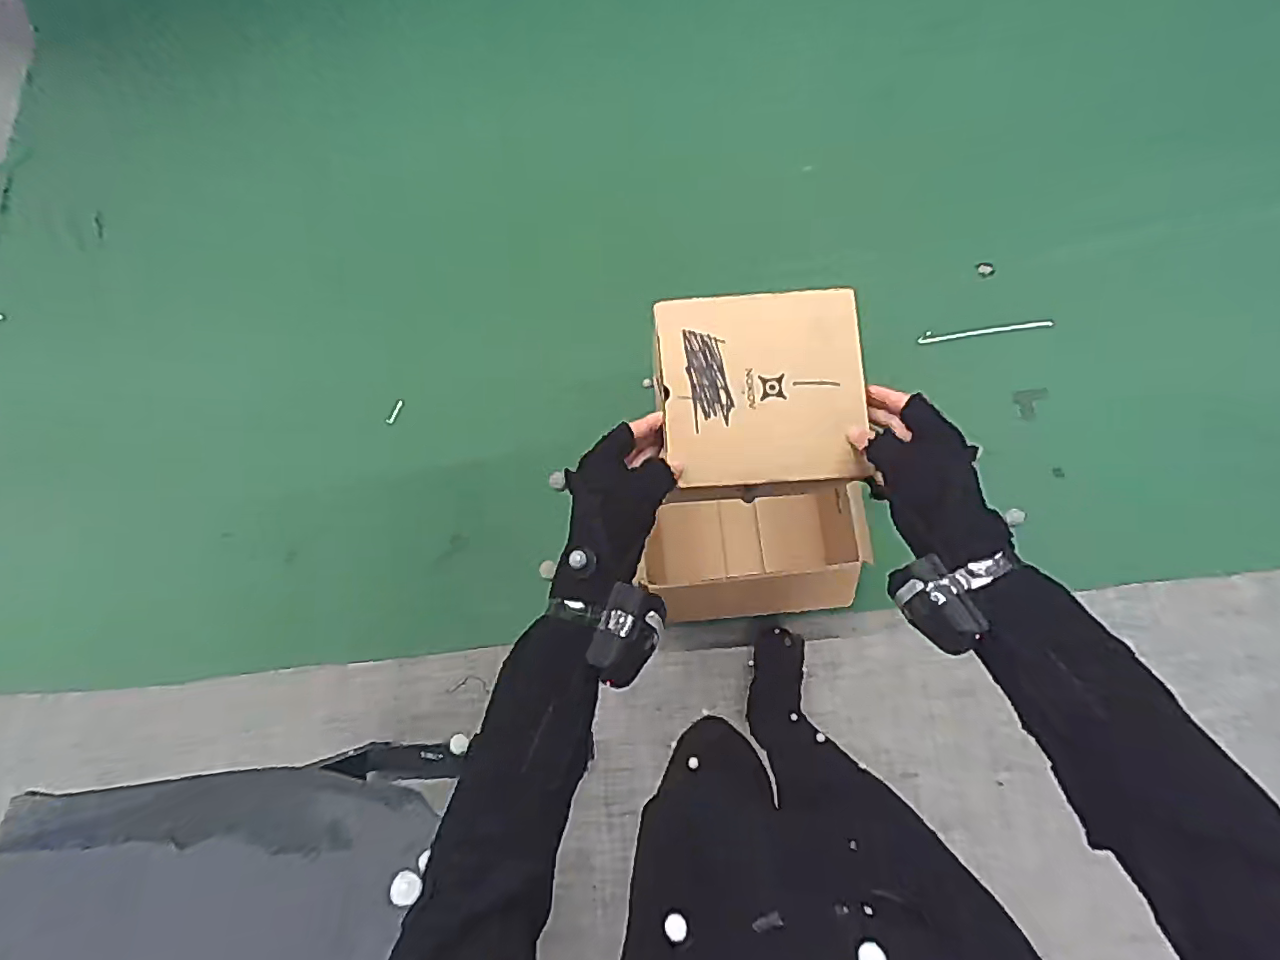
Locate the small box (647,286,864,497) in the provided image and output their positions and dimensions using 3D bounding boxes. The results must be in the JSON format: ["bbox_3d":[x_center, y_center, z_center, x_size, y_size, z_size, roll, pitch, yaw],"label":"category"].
[{"bbox_3d":[0.099,-0.074,0.541,0.179,0.176,0.168,-4,83,0],"label":"small box"}]
